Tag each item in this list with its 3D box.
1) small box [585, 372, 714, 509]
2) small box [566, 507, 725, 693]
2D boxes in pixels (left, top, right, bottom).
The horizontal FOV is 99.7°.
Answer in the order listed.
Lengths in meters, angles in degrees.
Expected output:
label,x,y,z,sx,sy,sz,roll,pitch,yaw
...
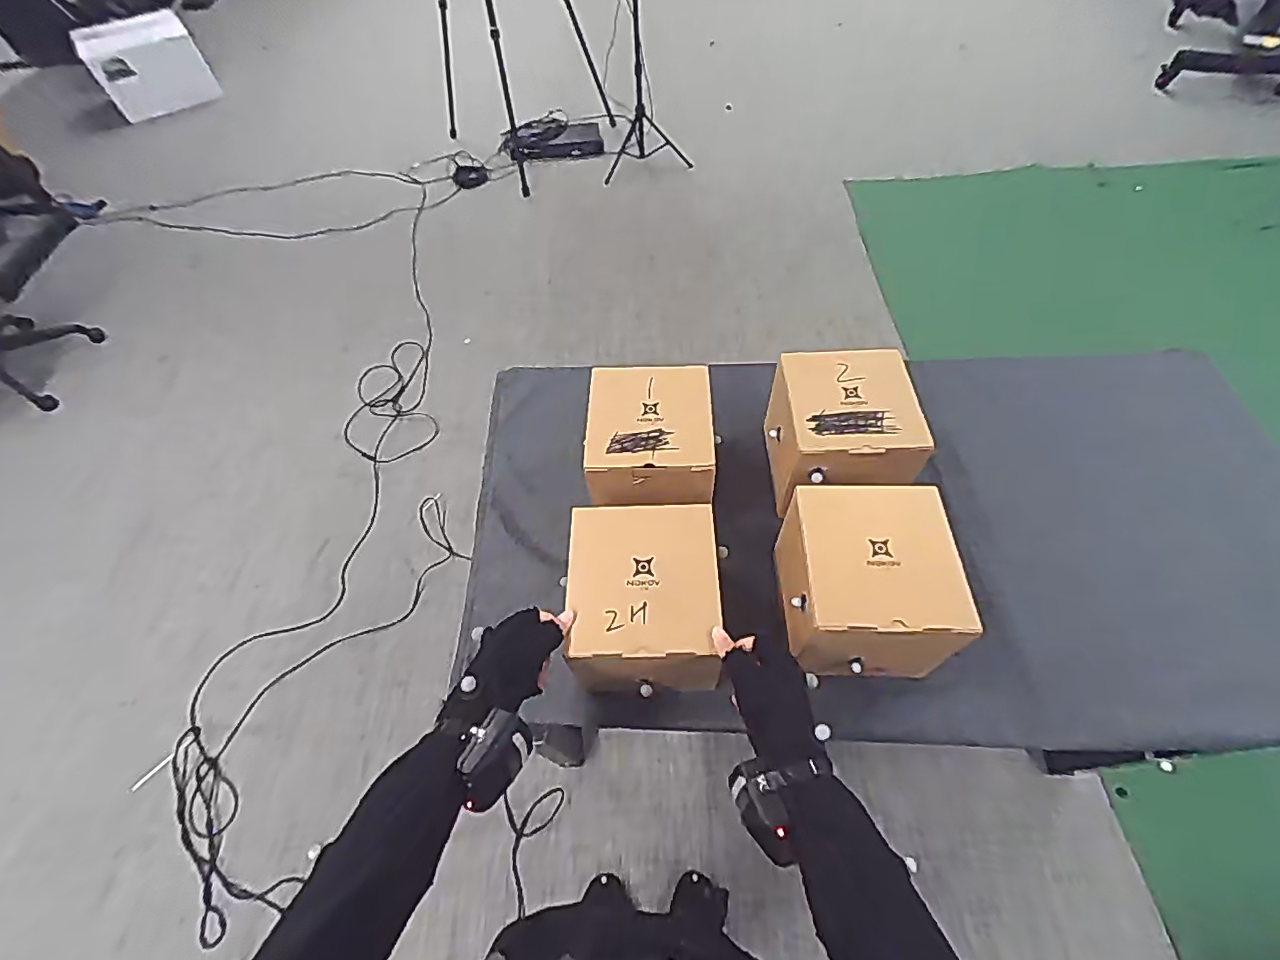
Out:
label,x,y,z,sx,sy,sz,roll,pitch,yaw
small box,0.019,-0.035,0.784,0.168,0.176,0.179,0,56,3
small box,0.008,0.150,0.660,0.168,0.176,0.179,-2,57,2
